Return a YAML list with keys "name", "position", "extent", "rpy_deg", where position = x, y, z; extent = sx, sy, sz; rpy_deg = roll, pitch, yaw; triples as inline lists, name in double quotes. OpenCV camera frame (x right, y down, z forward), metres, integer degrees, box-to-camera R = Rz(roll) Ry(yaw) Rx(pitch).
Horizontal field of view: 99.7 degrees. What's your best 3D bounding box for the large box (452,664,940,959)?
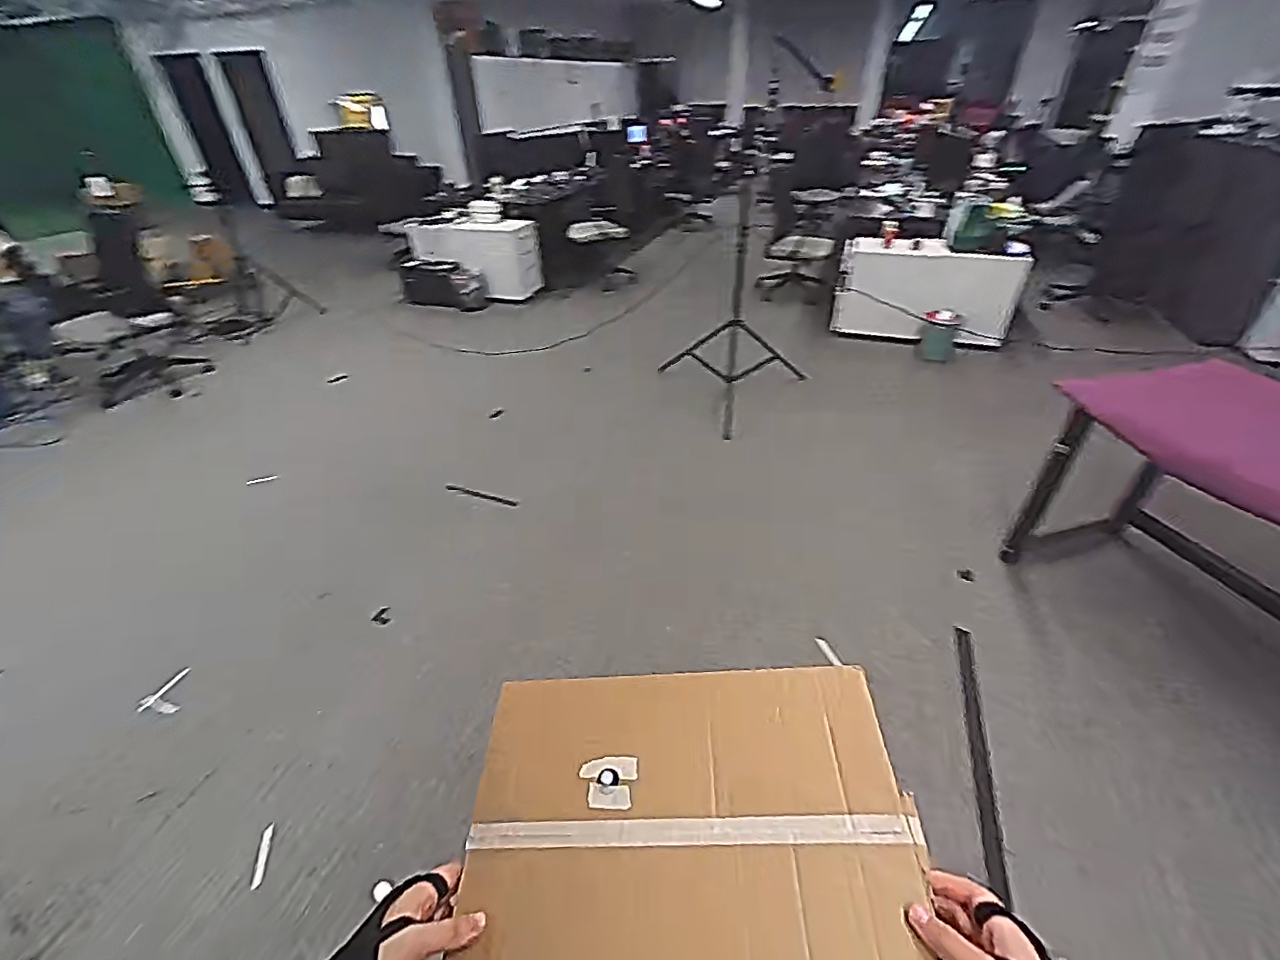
- name: "large box"
  position: [0.062, 0.438, 0.600]
  extent: [0.408, 0.320, 0.320]
  rpy_deg: [-8, 41, 8]
